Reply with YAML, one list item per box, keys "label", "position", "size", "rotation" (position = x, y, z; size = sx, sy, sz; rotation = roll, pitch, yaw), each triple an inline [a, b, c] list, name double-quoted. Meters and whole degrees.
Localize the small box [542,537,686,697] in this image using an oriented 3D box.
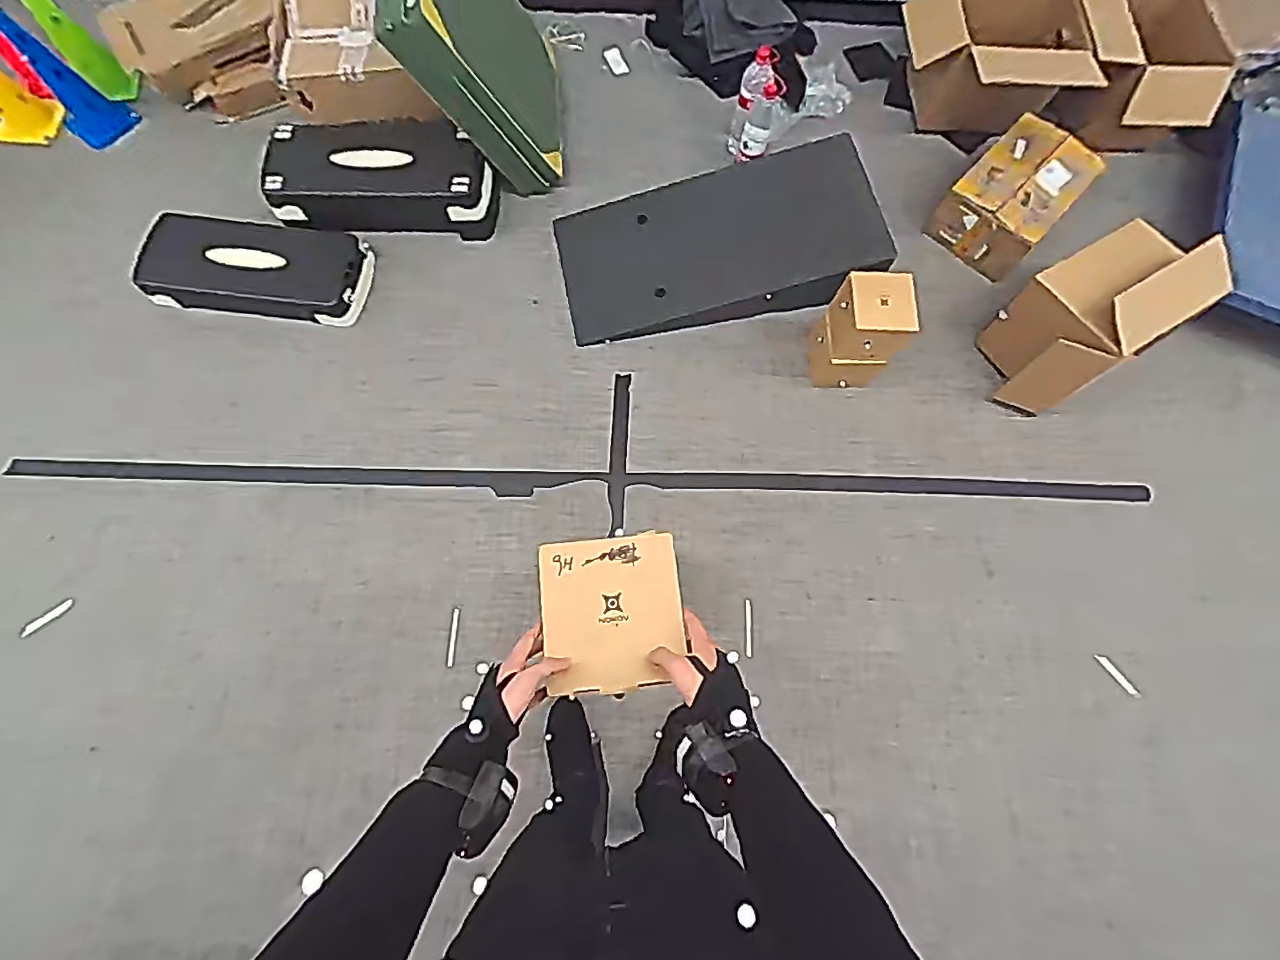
- label: "small box"
  position: [-0.035, 0.179, 0.716]
  size: [0.168, 0.176, 0.179]
  rotation: [-4, 74, -4]
